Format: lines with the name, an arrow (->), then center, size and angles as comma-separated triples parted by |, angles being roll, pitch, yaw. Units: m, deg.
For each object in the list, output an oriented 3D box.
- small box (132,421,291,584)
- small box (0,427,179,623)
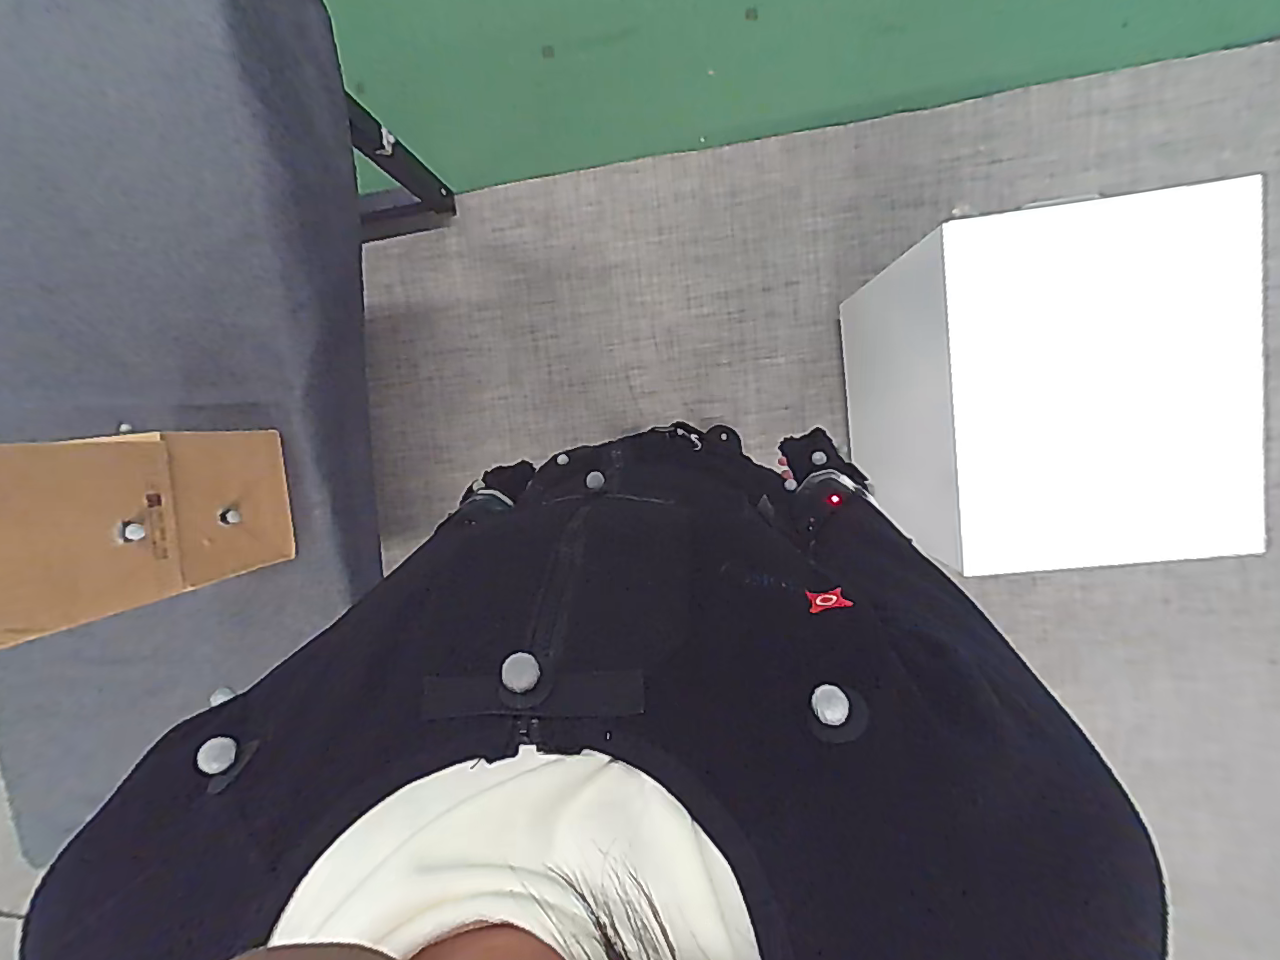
small box -> -0.573, 0.021, 0.675 | 0.168, 0.176, 0.179 | -3, 96, 8
small box -> -0.598, 0.038, 0.513 | 0.179, 0.176, 0.168 | -4, 96, 10
